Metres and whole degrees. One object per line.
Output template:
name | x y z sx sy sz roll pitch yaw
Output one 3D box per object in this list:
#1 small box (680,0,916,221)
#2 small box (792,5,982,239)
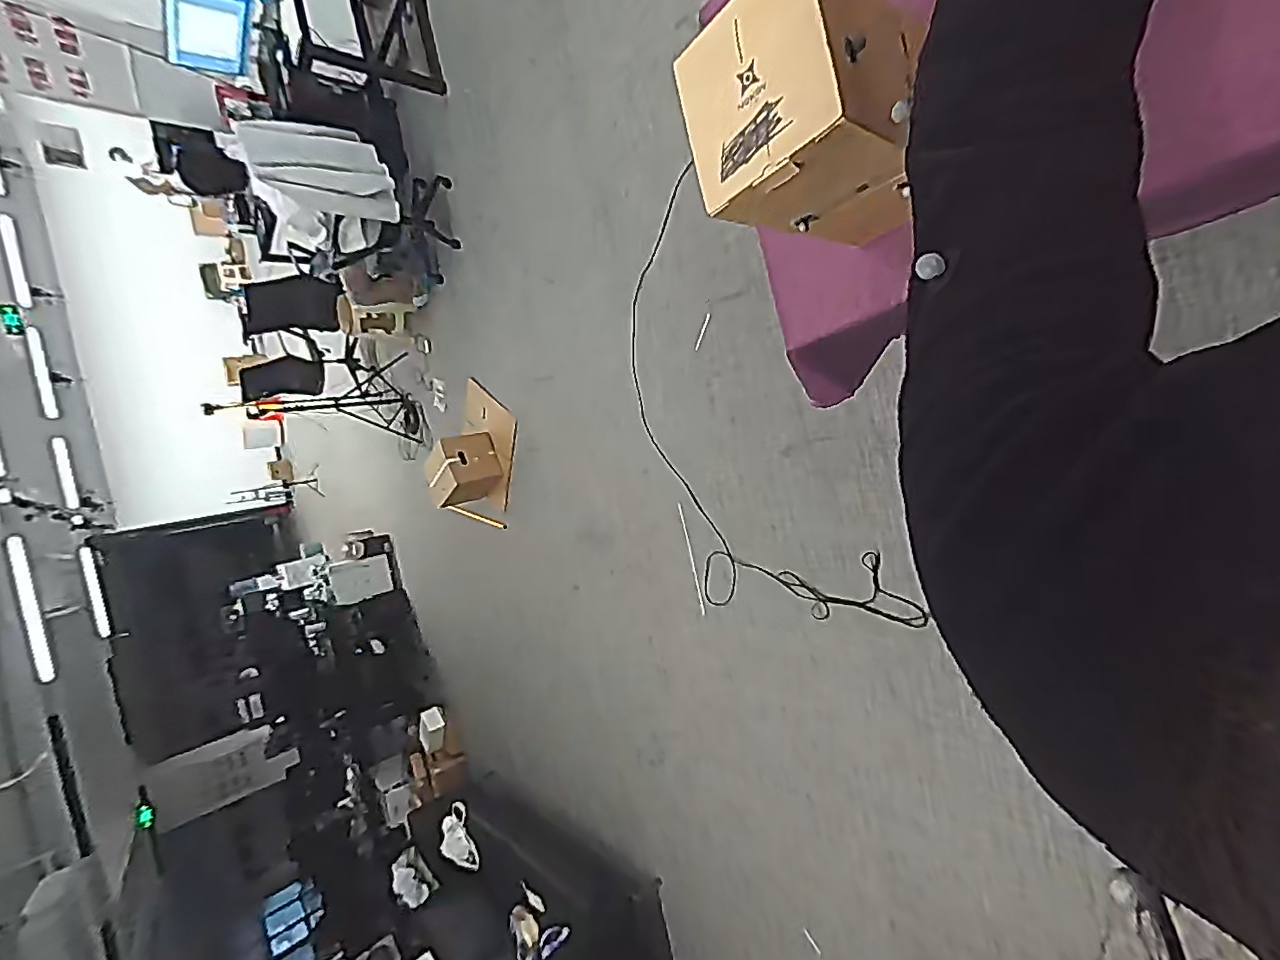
small box | 0.173 -0.405 0.588 0.168 0.176 0.179 -13 89 50
small box | 0.300 -0.430 0.691 0.179 0.176 0.168 -12 90 50
